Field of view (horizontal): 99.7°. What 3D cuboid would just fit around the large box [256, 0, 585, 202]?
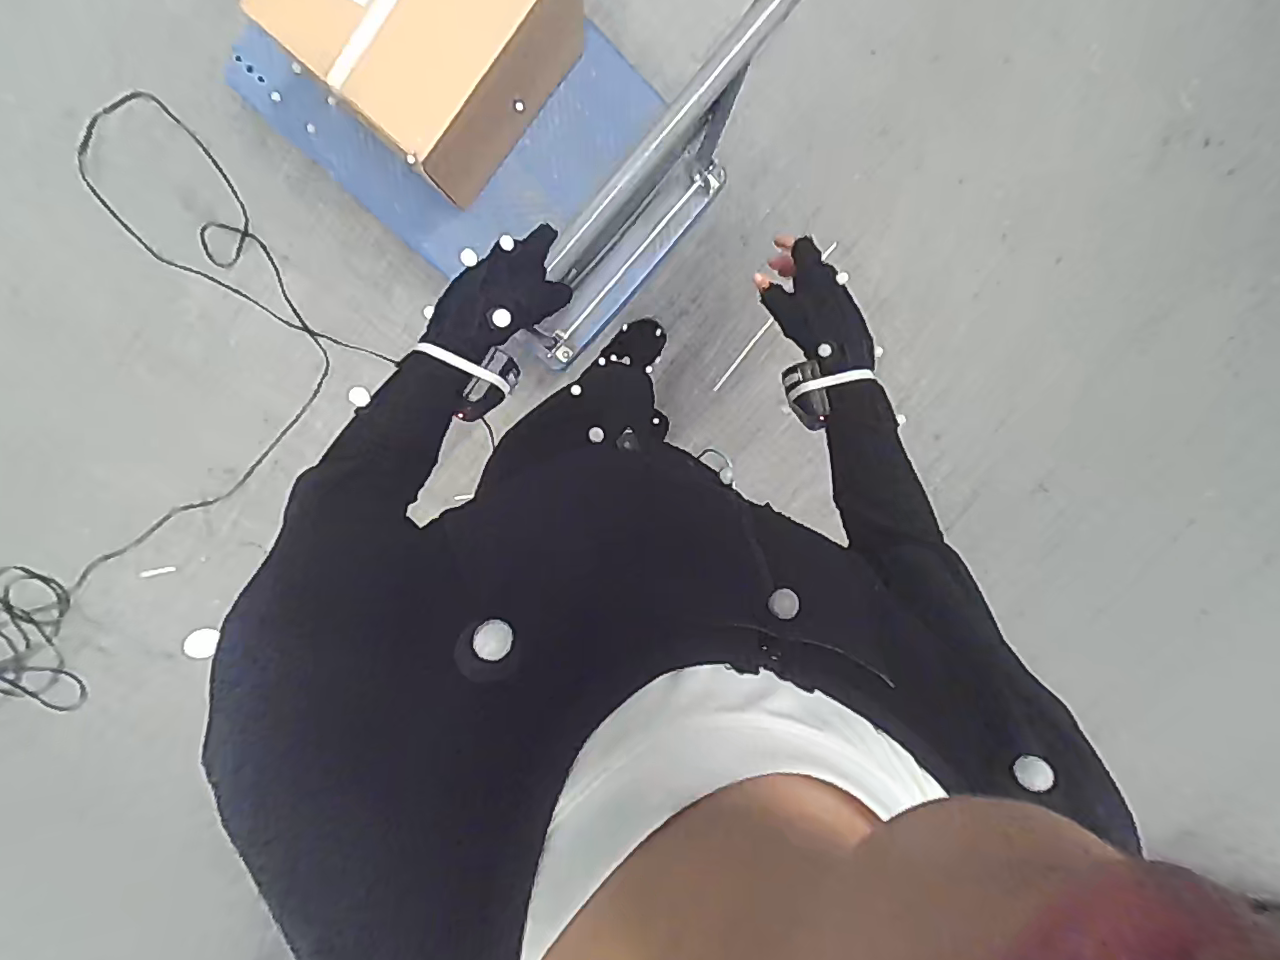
[{"bbox_3d":[-0.334,-0.784,0.935,0.320,0.320,0.408,39,98,-12],"label":"large box"}]
